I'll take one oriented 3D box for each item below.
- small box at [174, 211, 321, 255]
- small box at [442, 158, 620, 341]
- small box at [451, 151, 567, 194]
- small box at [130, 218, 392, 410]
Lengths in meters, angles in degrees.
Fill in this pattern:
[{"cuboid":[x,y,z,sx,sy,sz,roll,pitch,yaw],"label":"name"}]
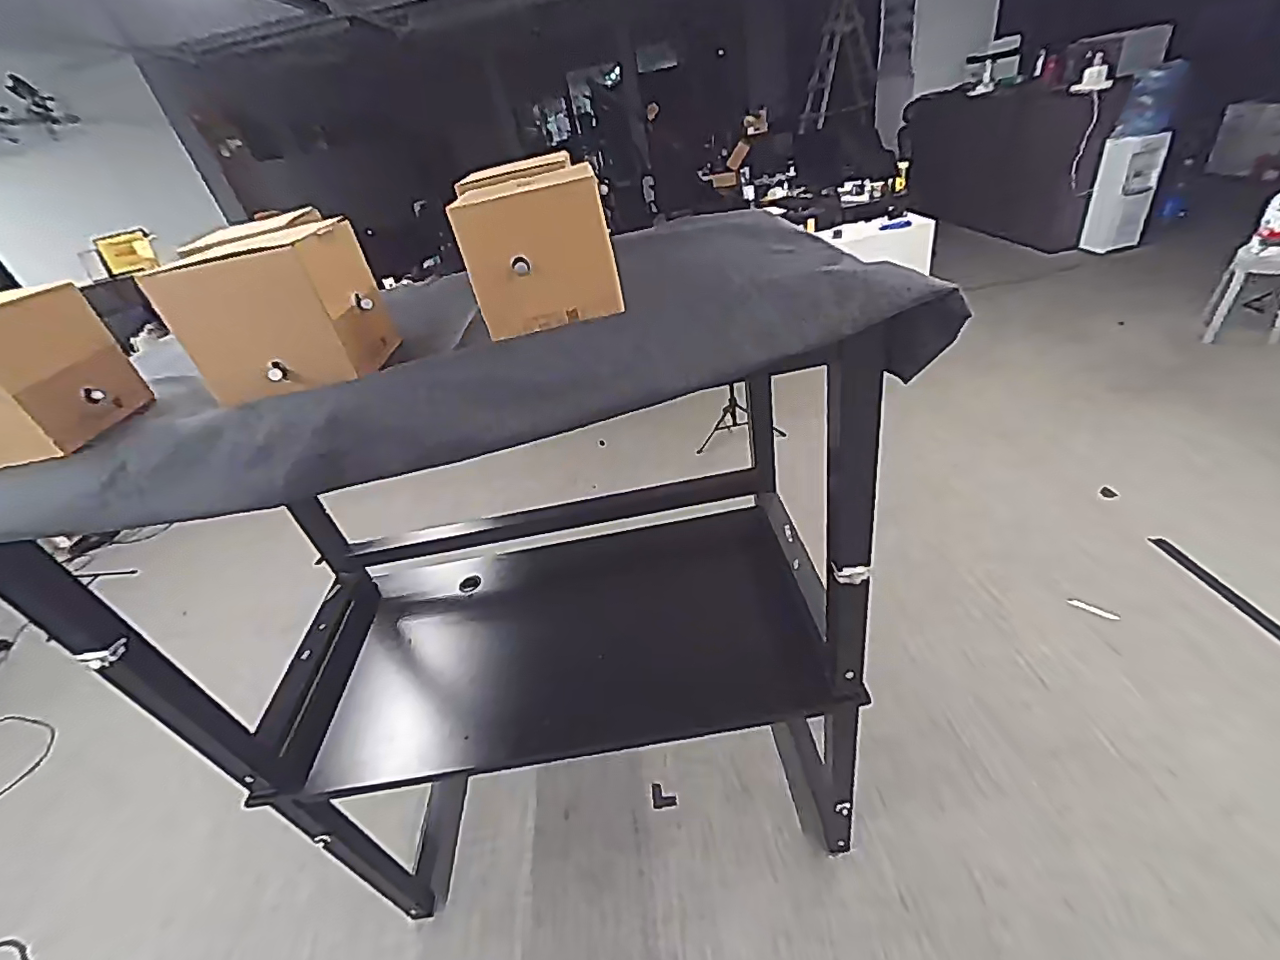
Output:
[{"cuboid":[-0.614,-0.340,0.917,0.168,0.176,0.179,-16,35,-3],"label":"small box"},{"cuboid":[-0.125,-0.288,0.683,0.168,0.176,0.179,-13,34,1],"label":"small box"},{"cuboid":[-0.192,-0.440,0.919,0.179,0.176,0.168,-12,35,2],"label":"small box"},{"cuboid":[-0.439,-0.206,0.669,0.179,0.176,0.168,-11,33,1],"label":"small box"}]
